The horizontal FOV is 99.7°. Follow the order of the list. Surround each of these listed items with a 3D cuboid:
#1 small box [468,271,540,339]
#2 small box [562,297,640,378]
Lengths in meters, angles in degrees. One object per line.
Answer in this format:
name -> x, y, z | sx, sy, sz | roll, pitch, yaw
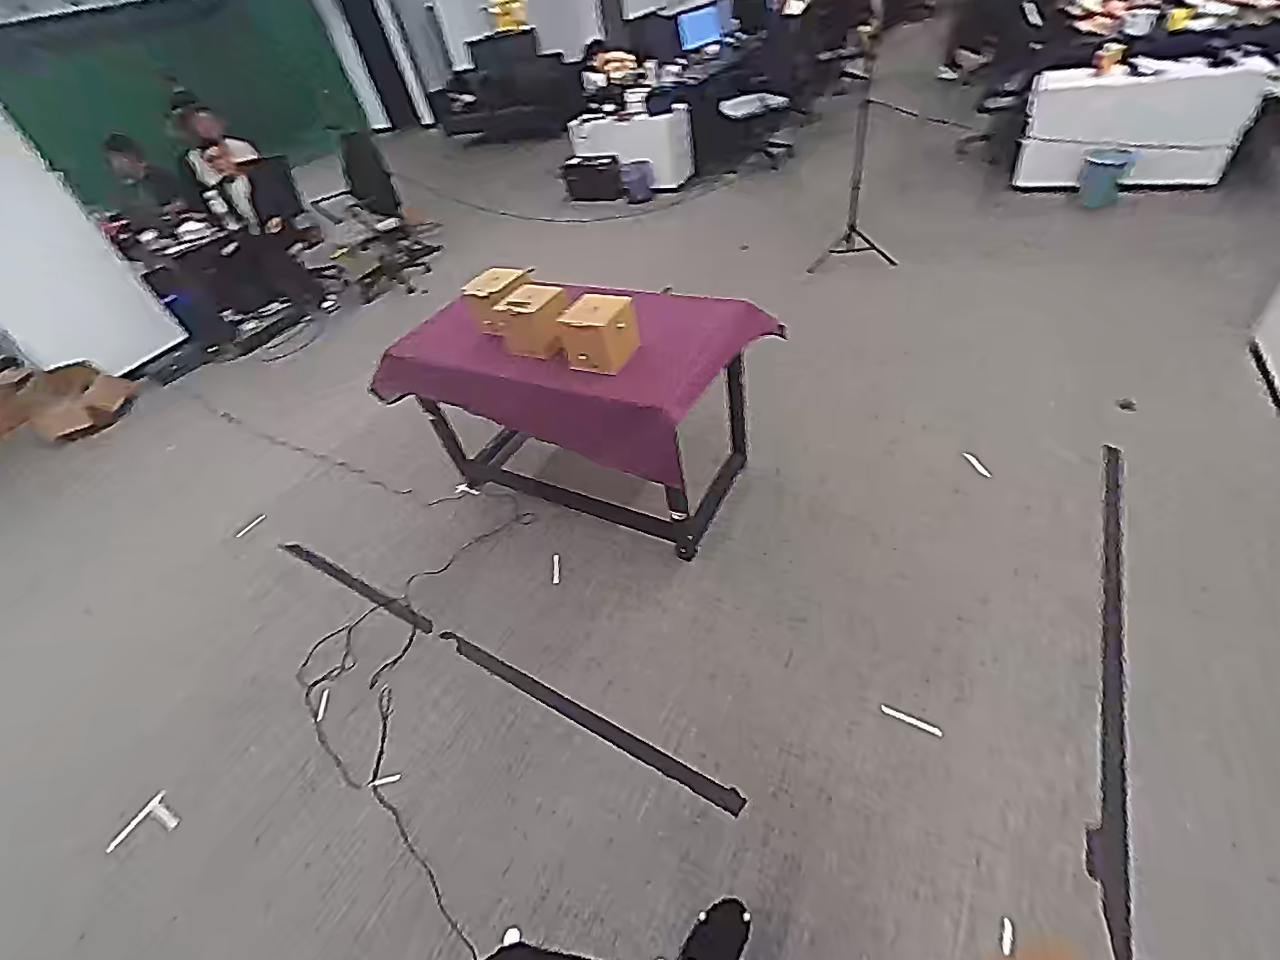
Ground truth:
small box -> -0.482, -0.634, 1.955 | 0.168, 0.176, 0.179 | 15, 51, 28
small box -> -0.110, -0.440, 1.665 | 0.168, 0.176, 0.179 | 14, 50, 27
